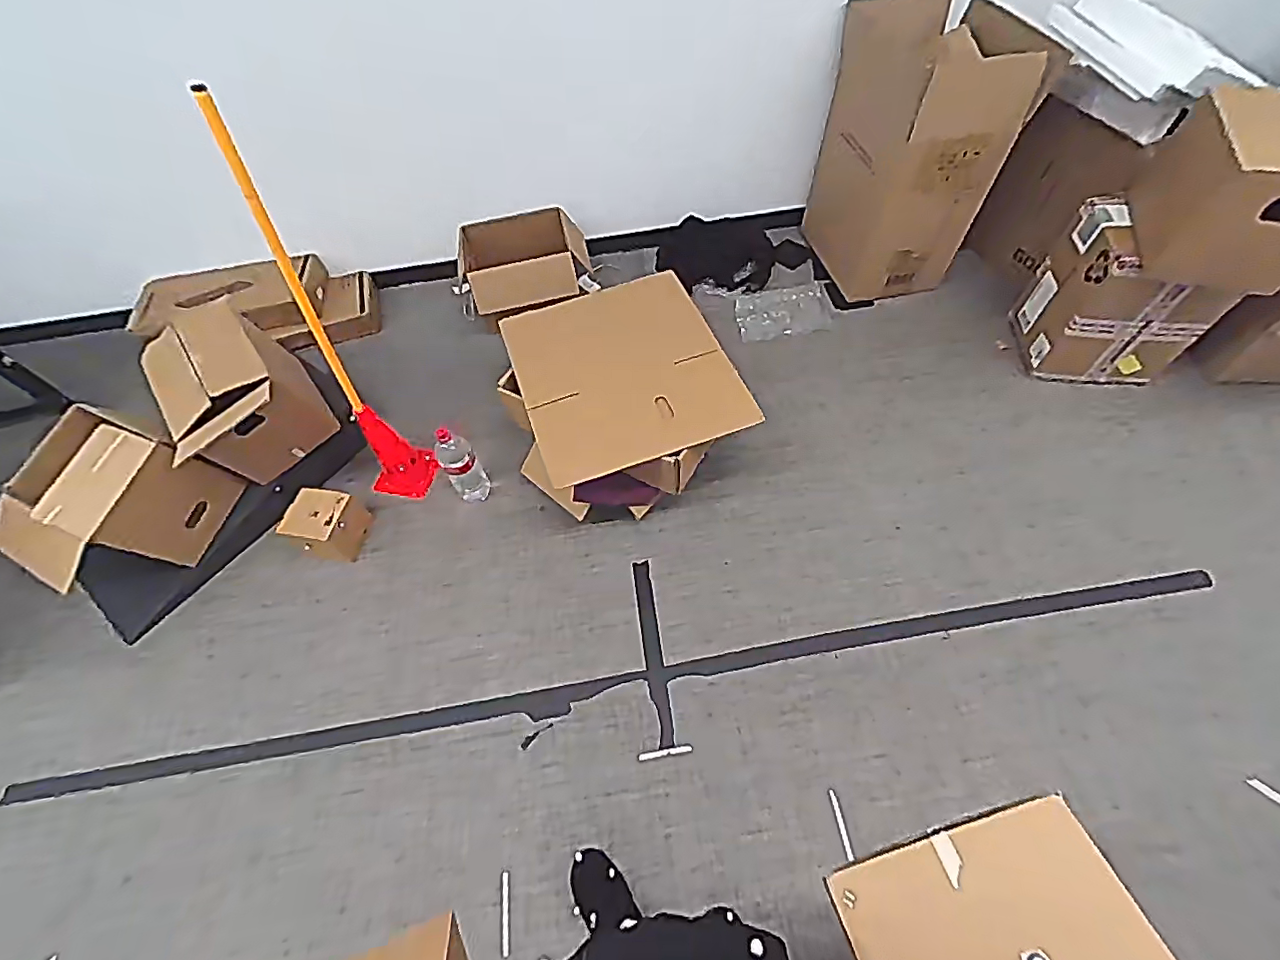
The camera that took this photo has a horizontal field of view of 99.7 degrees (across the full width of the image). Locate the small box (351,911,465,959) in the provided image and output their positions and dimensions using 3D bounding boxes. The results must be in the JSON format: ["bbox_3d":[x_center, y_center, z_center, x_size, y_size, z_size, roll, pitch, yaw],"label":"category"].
[{"bbox_3d":[-0.300,0.718,0.680,0.168,0.179,0.176,-17,89,-16],"label":"small box"}]
